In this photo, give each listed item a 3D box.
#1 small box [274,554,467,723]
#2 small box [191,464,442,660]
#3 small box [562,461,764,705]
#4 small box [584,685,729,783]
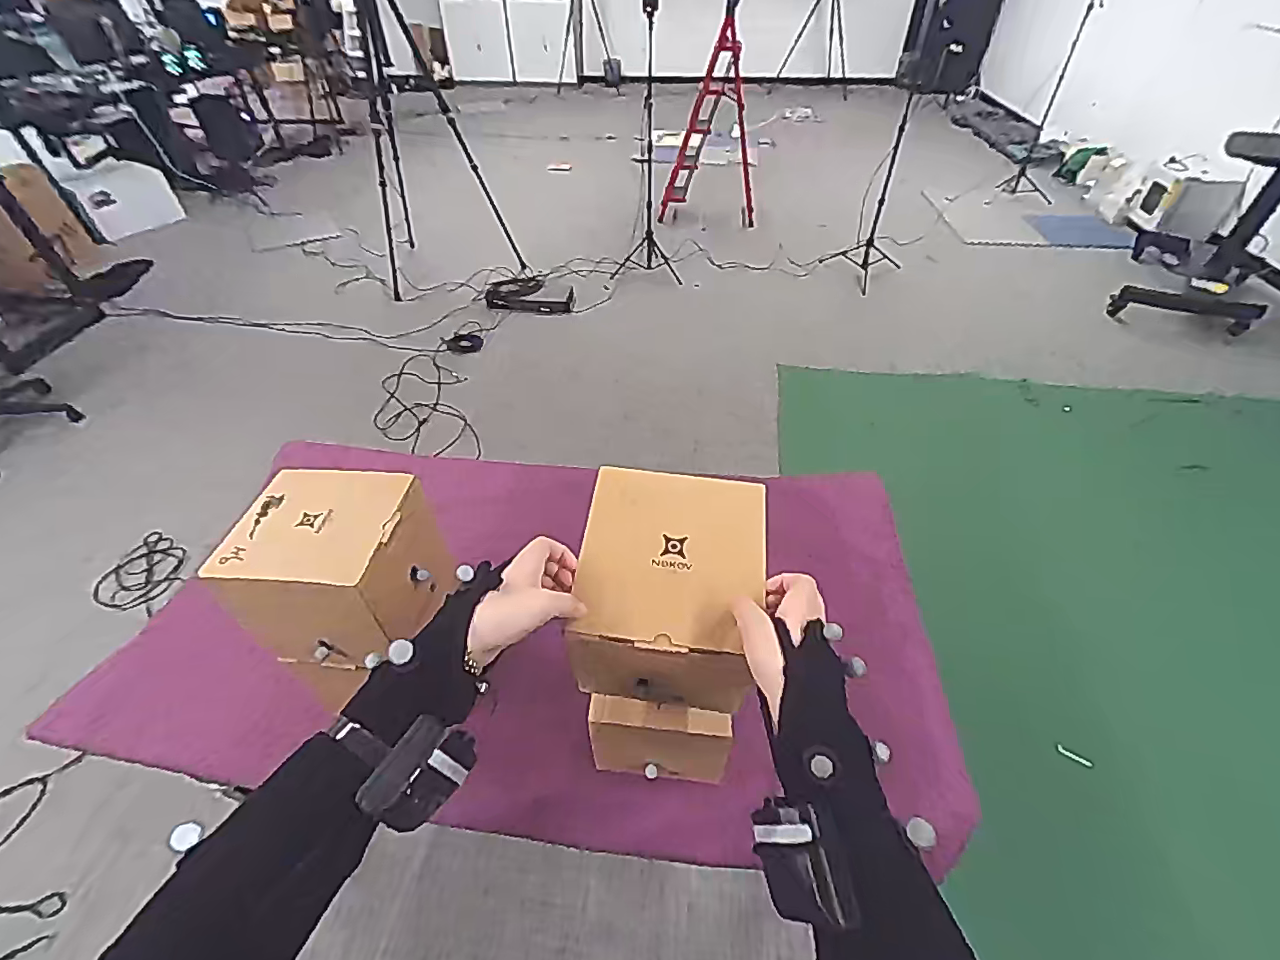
[{"bbox_3d":[-0.361,0.218,0.768,0.168,0.176,0.179,3,44,4],"label":"small box"},{"bbox_3d":[-0.363,0.101,0.654,0.179,0.176,0.168,4,43,3],"label":"small box"},{"bbox_3d":[0.026,0.107,0.545,0.168,0.176,0.179,7,55,4],"label":"small box"},{"bbox_3d":[0.027,0.271,0.714,0.168,0.176,0.179,4,45,5],"label":"small box"}]
